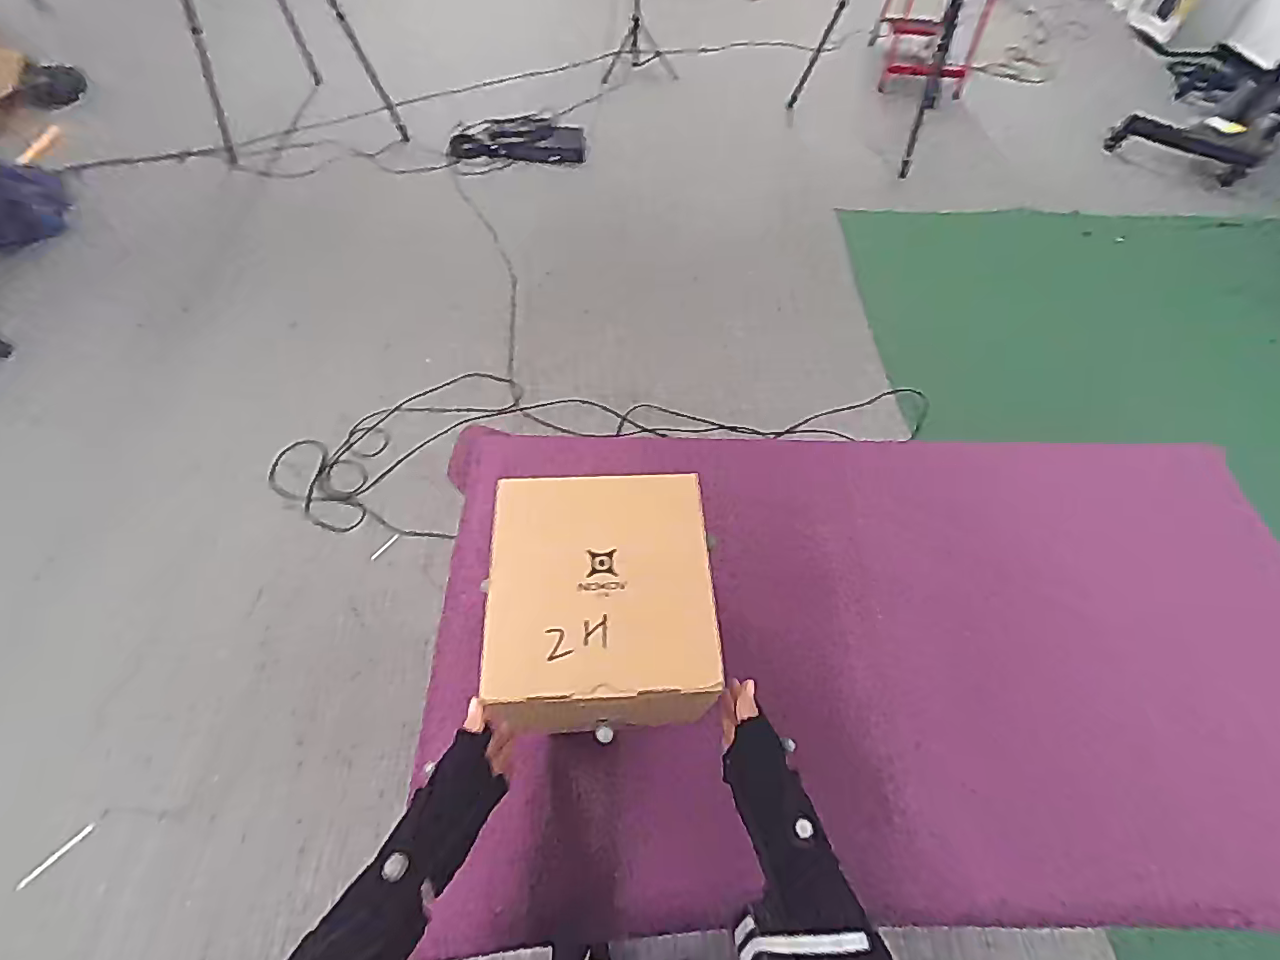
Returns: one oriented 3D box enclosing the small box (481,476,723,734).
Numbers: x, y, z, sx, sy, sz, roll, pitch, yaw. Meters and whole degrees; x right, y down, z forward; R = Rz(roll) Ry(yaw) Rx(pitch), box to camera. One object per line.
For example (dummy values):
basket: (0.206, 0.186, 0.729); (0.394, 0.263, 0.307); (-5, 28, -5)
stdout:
small box: (-0.032, 0.113, 0.473); (0.168, 0.176, 0.179); (-2, 59, -4)
